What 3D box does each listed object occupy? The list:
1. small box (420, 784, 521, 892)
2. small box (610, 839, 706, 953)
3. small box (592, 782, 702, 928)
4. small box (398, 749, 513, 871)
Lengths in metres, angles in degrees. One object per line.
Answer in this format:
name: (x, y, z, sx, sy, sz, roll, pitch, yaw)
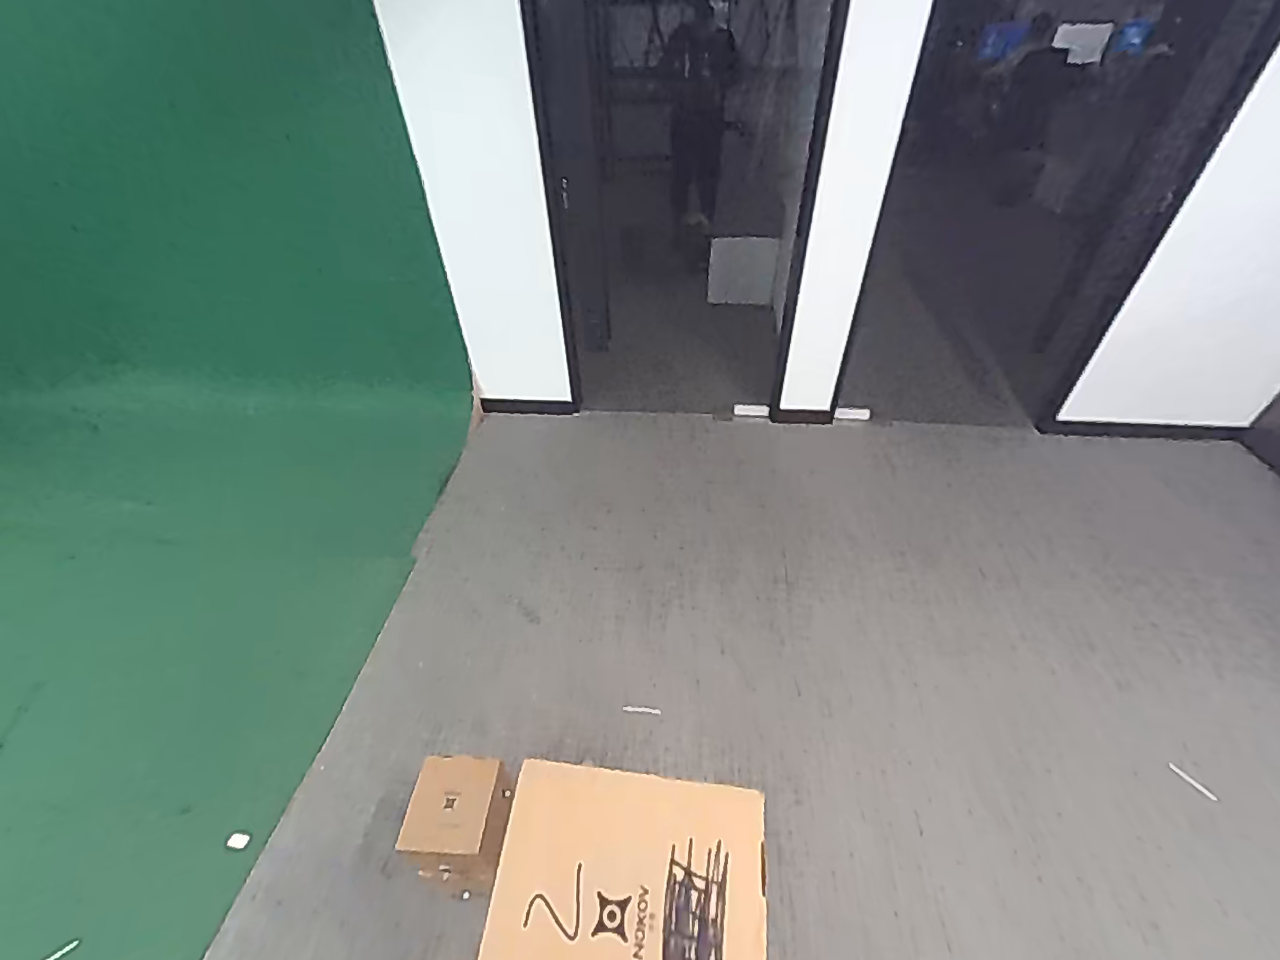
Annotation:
small box: (-0.377, 0.816, 1.241, 0.168, 0.176, 0.179, 1, 42, 2)
small box: (0.041, 0.872, 1.164, 0.168, 0.176, 0.179, 10, 44, 13)
small box: (0.021, 0.742, 1.066, 0.168, 0.176, 0.179, 13, 45, 16)
small box: (-0.374, 0.691, 1.136, 0.168, 0.176, 0.179, 0, 42, 3)
